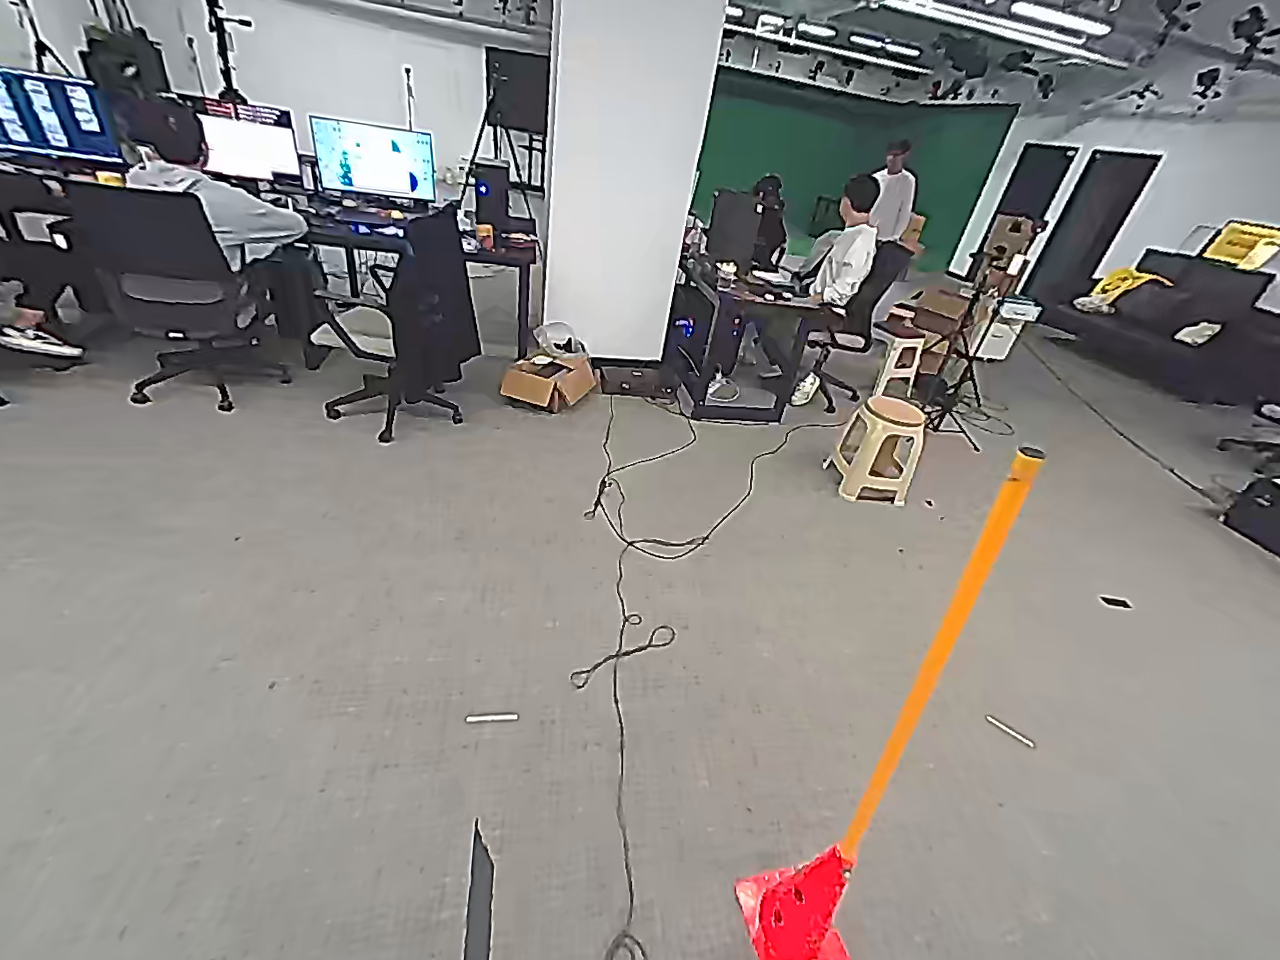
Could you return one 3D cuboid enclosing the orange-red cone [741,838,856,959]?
[{"bbox_3d":[0.361,0.834,1.099,0.199,0.360,0.198,-2,34,-15],"label":"orange-red cone"}]
